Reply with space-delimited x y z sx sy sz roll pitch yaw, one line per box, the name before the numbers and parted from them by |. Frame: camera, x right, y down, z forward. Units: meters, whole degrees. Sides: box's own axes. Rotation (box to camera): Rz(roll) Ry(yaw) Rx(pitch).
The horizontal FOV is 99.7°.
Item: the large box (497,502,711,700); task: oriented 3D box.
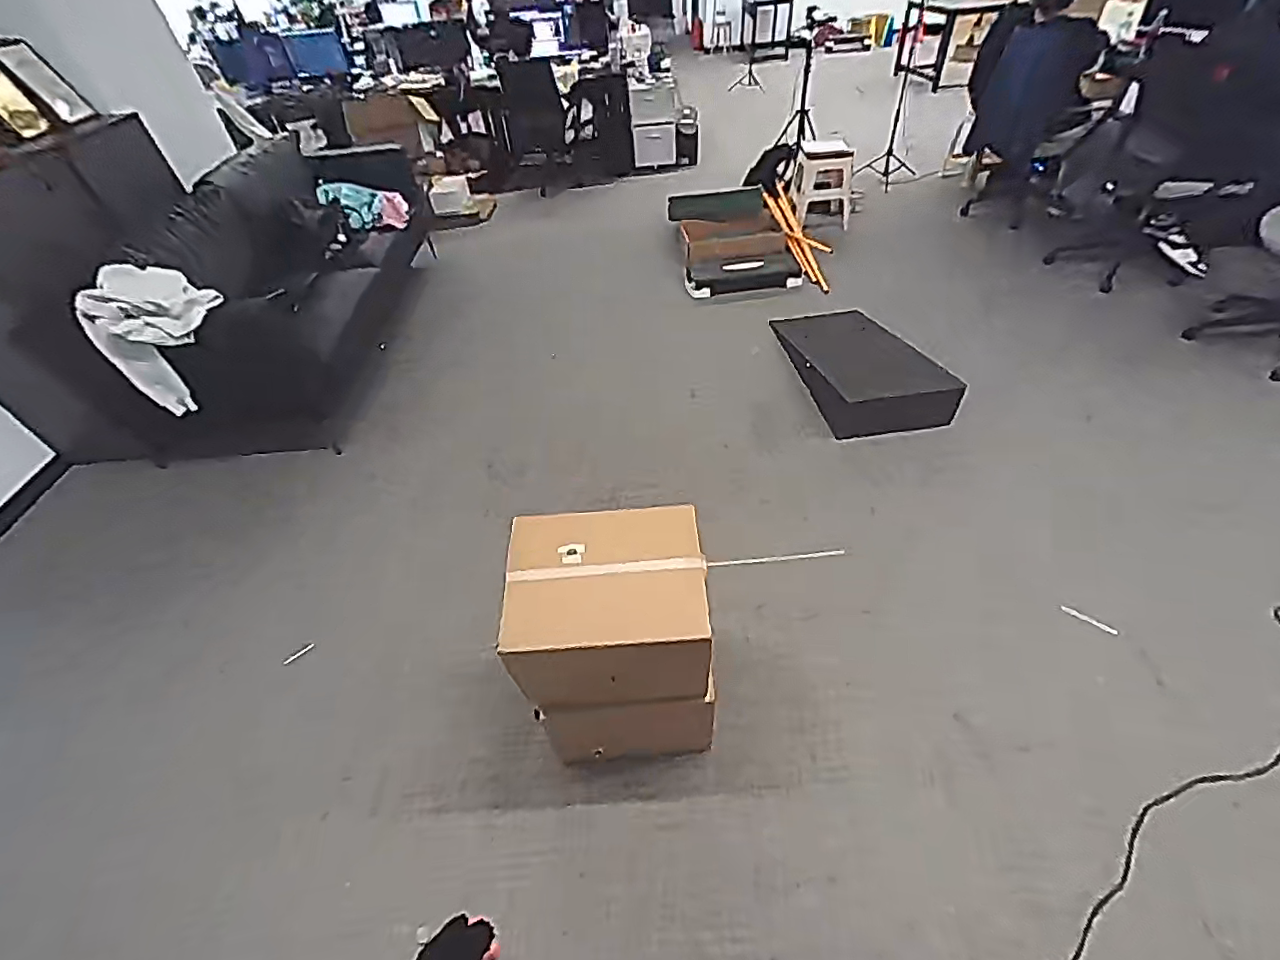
large box | -0.063 0.277 1.201 0.408 0.320 0.320 -5 50 2
